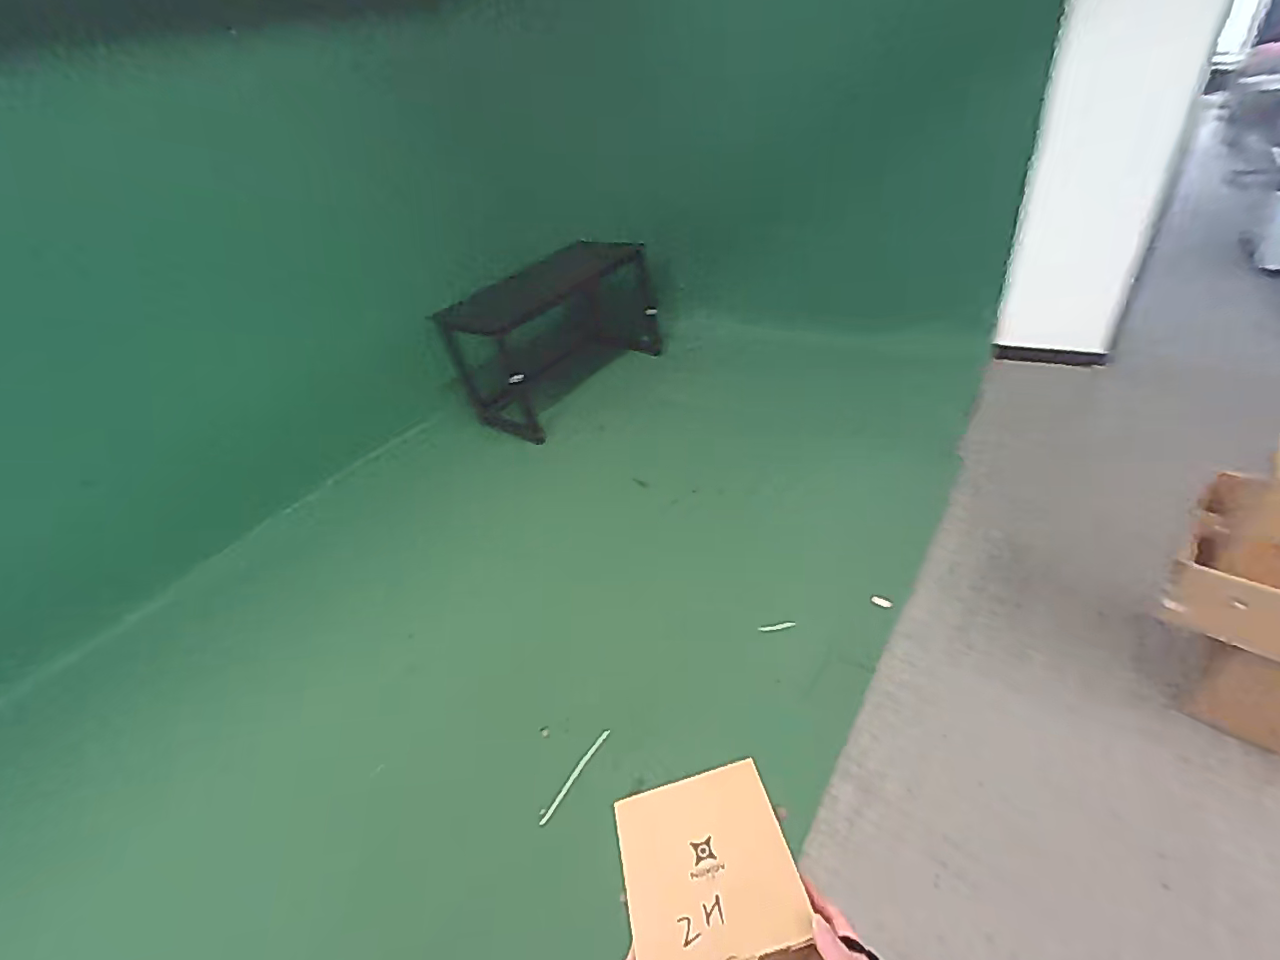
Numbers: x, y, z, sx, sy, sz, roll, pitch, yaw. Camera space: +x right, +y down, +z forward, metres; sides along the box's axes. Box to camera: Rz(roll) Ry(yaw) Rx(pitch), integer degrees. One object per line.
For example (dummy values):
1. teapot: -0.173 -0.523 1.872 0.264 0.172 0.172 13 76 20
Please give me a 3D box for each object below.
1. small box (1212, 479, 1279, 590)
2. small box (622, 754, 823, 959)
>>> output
1. small box: 1.450 0.132 1.226 0.168 0.176 0.179 22 52 38
2. small box: 0.086 0.444 0.587 0.168 0.176 0.179 -17 30 0
